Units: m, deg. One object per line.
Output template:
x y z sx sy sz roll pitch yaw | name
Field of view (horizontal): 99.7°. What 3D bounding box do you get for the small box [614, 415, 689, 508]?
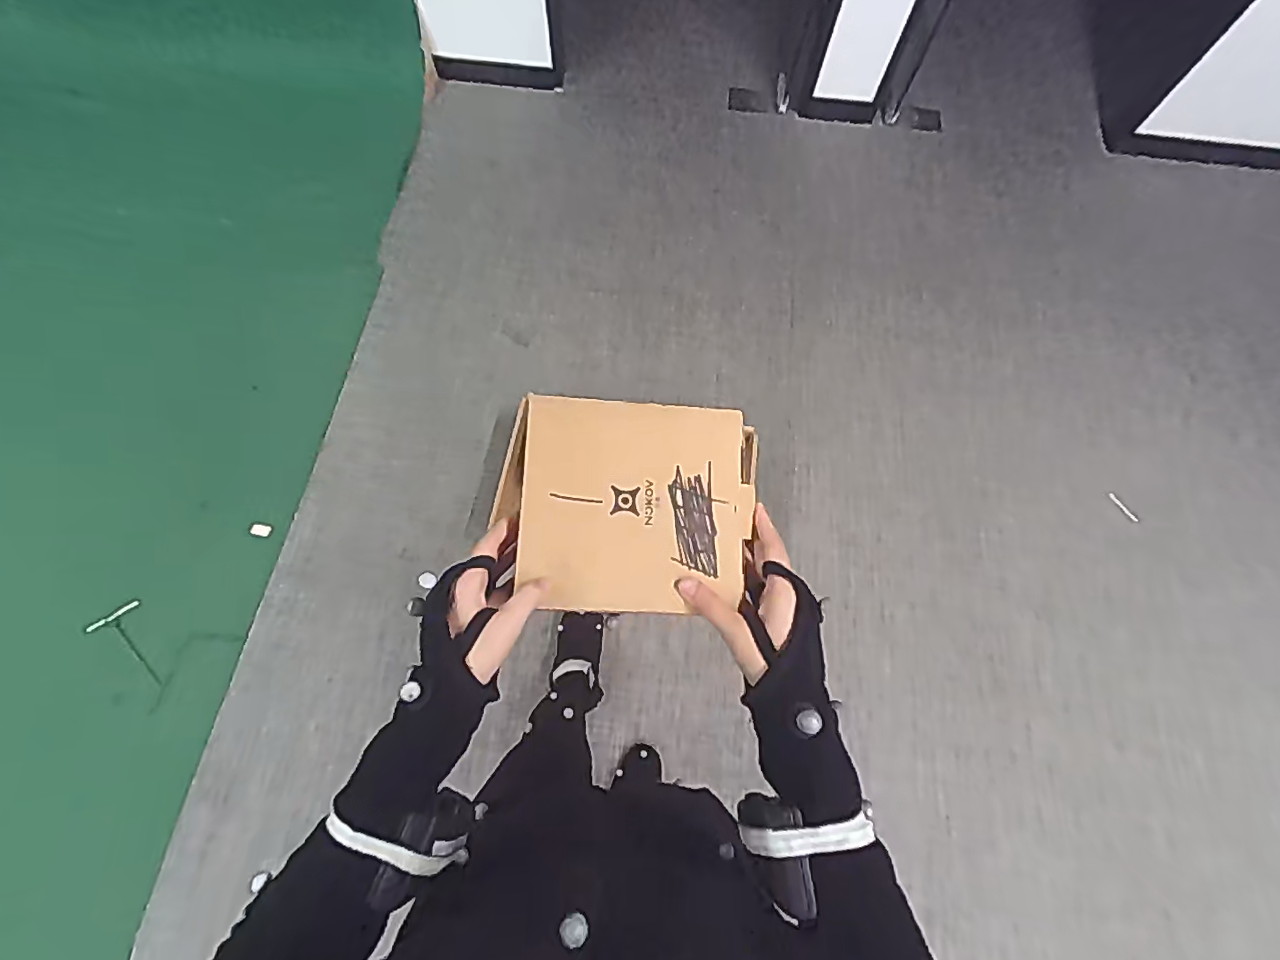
0.029 -0.043 1.392 0.168 0.176 0.179 8 70 3 | small box
